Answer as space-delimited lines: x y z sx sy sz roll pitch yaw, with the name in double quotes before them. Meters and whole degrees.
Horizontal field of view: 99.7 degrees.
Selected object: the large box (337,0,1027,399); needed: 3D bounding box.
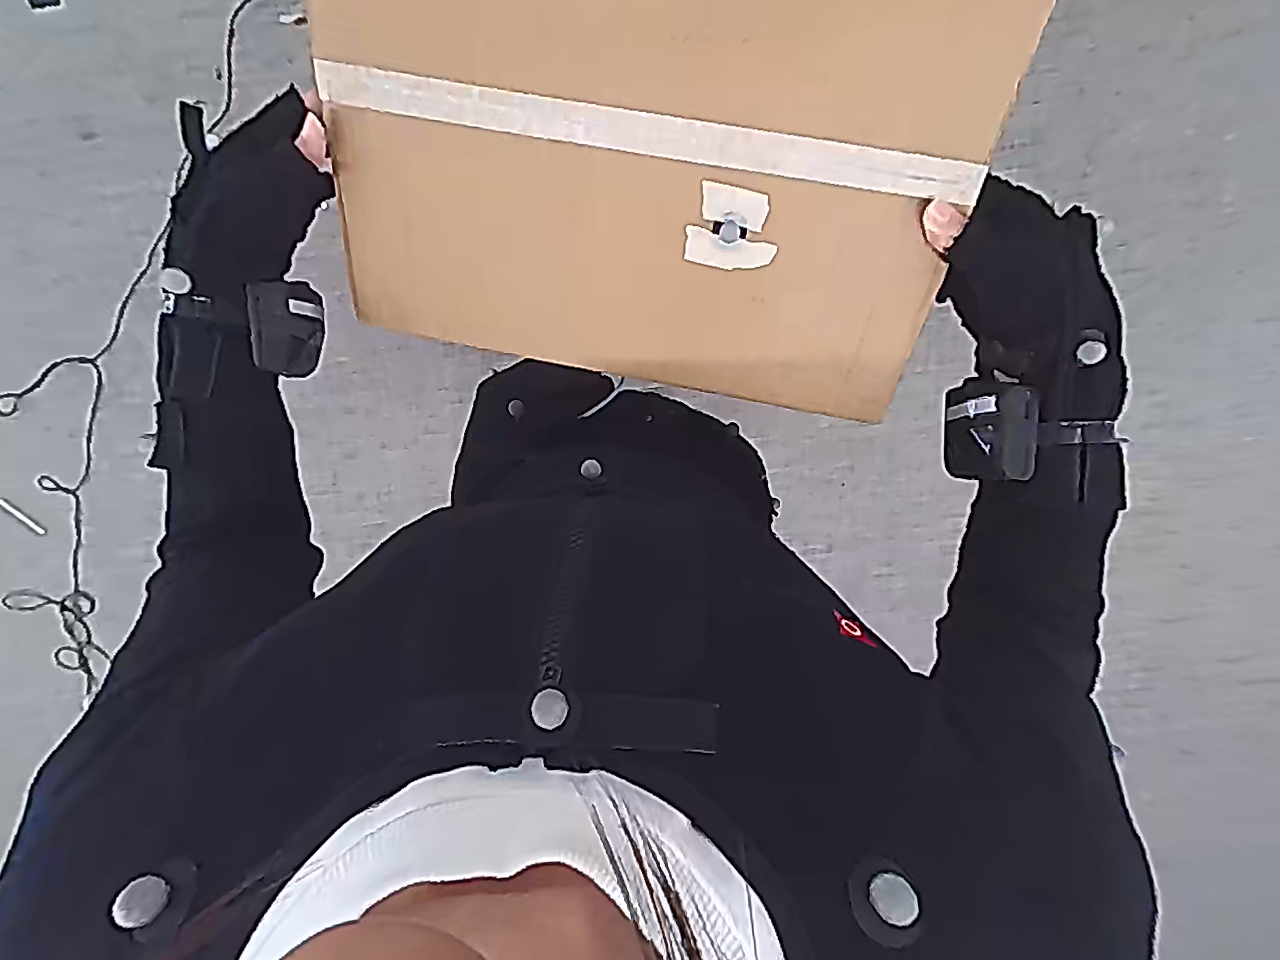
"large box" 0.023 -0.297 0.468 0.408 0.320 0.320 11 123 4
